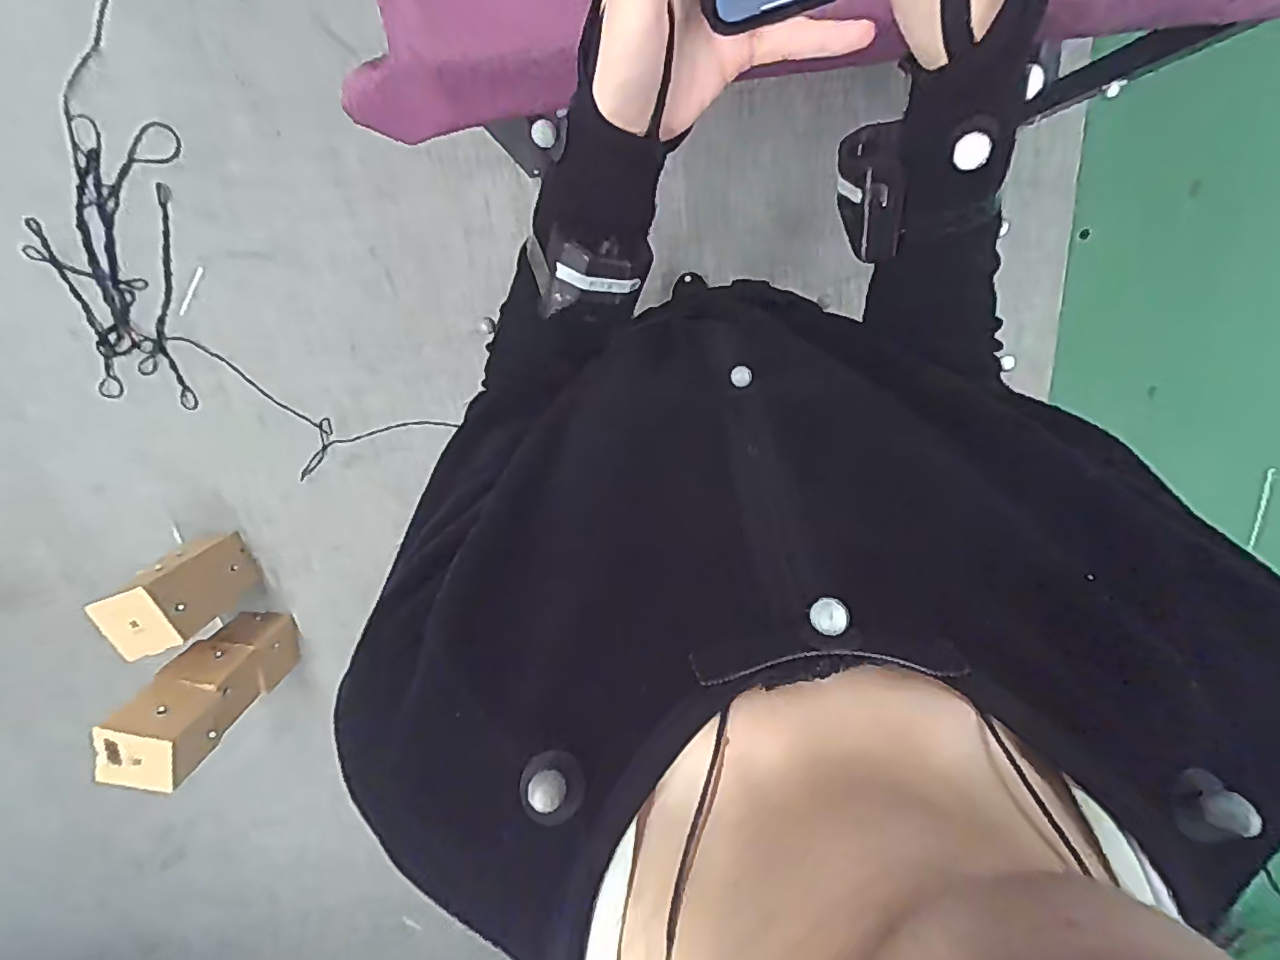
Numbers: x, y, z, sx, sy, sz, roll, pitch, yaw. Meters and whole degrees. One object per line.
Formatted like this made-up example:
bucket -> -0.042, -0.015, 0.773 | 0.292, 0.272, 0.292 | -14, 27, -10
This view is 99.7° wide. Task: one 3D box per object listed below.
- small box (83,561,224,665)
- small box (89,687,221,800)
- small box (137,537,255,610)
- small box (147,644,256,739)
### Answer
small box -> -1.228, 0.335, 1.384 | 0.168, 0.176, 0.179 | -18, 108, 5
small box -> -1.171, 0.631, 1.313 | 0.179, 0.176, 0.168 | 14, 107, -5
small box -> -1.243, 0.279, 1.536 | 0.179, 0.176, 0.168 | -14, 108, 5
small box -> -1.179, 0.578, 1.469 | 0.168, 0.176, 0.179 | 10, 107, -3
